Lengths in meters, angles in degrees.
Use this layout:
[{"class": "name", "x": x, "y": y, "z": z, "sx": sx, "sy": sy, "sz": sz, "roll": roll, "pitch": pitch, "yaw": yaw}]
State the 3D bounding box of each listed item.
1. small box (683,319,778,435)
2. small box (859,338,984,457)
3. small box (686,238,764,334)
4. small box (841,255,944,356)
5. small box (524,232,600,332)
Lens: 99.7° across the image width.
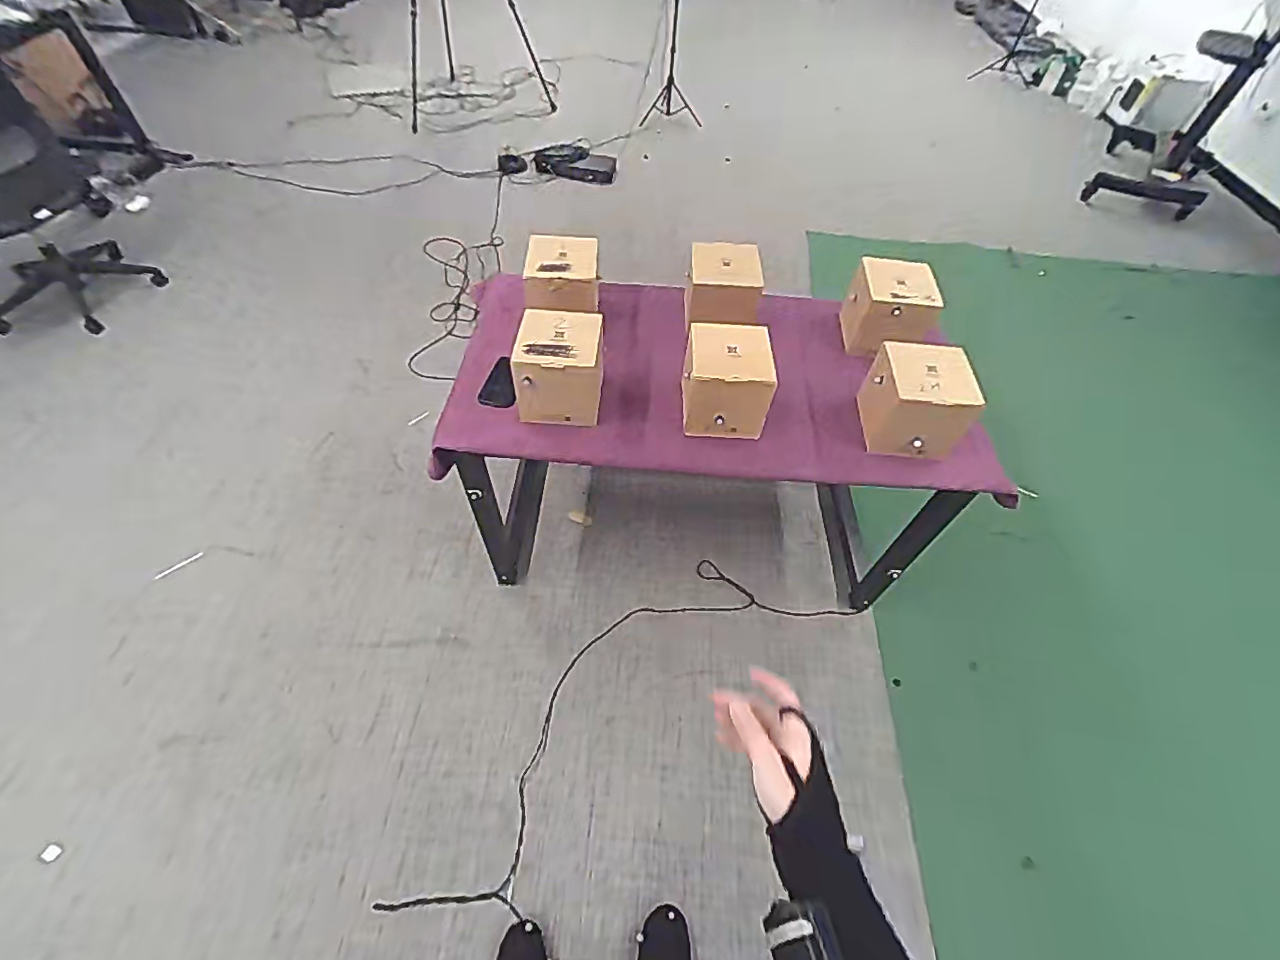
[{"class": "small box", "x": 0.185, "y": -0.219, "z": 1.160, "sx": 0.168, "sy": 0.176, "sz": 0.179, "roll": 3, "pitch": 53, "yaw": -2}, {"class": "small box", "x": 0.583, "y": -0.174, "z": 1.146, "sx": 0.168, "sy": 0.176, "sz": 0.179, "roll": 6, "pitch": 54, "yaw": 2}, {"class": "small box", "x": 0.204, "y": -0.475, "z": 1.348, "sx": 0.168, "sy": 0.176, "sz": 0.179, "roll": 3, "pitch": 54, "yaw": 0}, {"class": "small box", "x": 0.612, "y": -0.426, "z": 1.337, "sx": 0.168, "sy": 0.176, "sz": 0.179, "roll": 6, "pitch": 54, "yaw": 2}, {"class": "small box", "x": -0.184, "y": -0.482, "z": 1.326, "sx": 0.168, "sy": 0.176, "sz": 0.179, "roll": 2, "pitch": 53, "yaw": -3}]
